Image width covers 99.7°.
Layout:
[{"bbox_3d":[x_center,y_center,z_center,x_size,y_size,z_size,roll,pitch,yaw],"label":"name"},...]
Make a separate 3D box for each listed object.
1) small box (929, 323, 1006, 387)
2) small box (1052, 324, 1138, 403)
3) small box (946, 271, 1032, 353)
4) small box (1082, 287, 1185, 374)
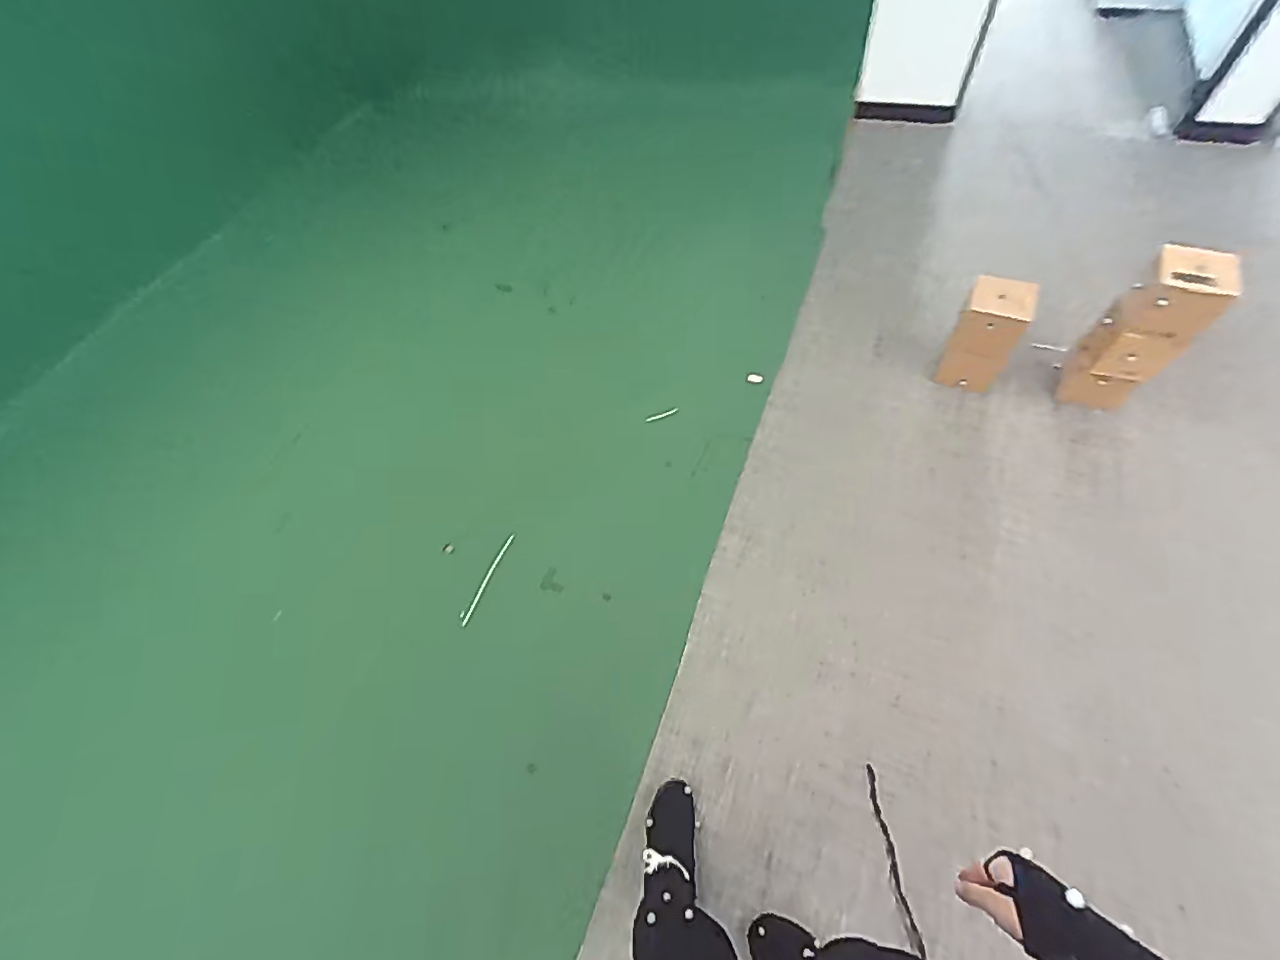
[{"bbox_3d":[1.122,-0.440,1.847,0.179,0.176,0.168,18,63,17],"label":"small box"},{"bbox_3d":[1.479,-0.374,1.757,0.179,0.176,0.168,17,63,16],"label":"small box"},{"bbox_3d":[1.095,-0.527,1.708,0.179,0.176,0.168,19,64,18],"label":"small box"},{"bbox_3d":[1.459,-0.441,1.610,0.168,0.176,0.179,13,62,15],"label":"small box"}]
